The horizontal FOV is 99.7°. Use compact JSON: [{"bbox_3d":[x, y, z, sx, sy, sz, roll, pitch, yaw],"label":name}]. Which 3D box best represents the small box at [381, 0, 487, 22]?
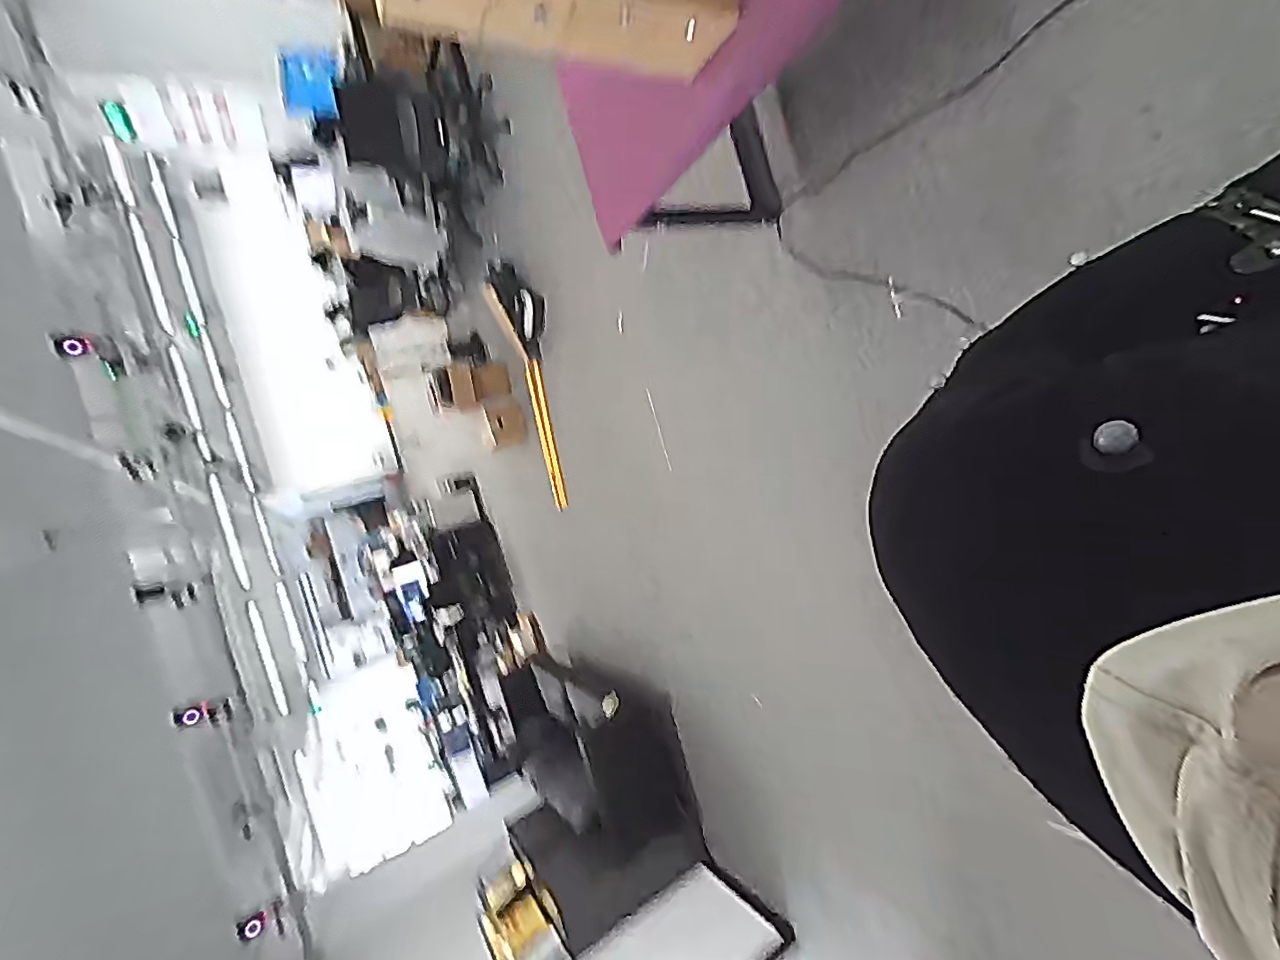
[{"bbox_3d":[-0.331,-0.886,0.861,0.179,0.176,0.168,-8,96,59],"label":"small box"}]
